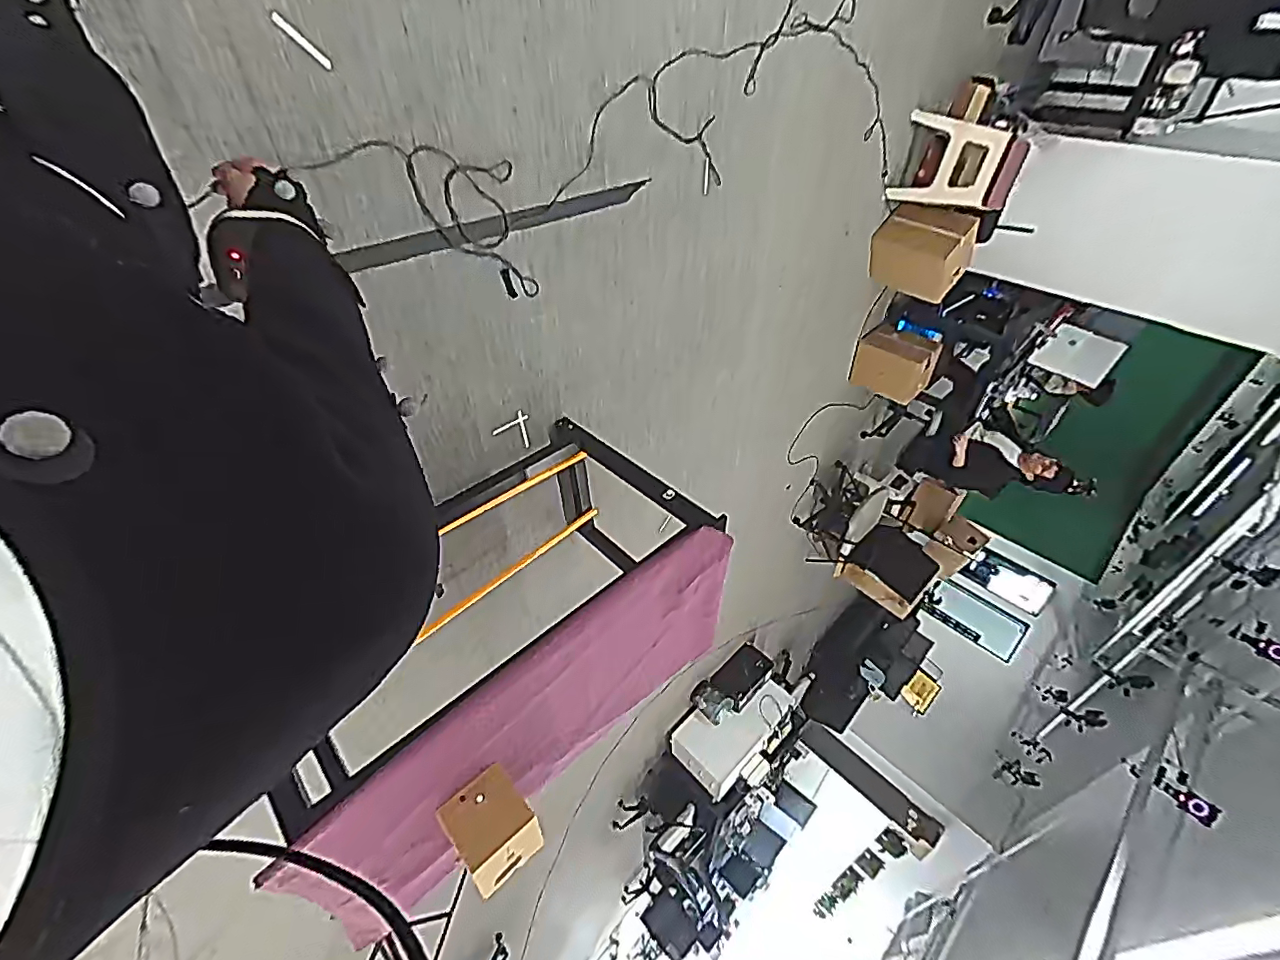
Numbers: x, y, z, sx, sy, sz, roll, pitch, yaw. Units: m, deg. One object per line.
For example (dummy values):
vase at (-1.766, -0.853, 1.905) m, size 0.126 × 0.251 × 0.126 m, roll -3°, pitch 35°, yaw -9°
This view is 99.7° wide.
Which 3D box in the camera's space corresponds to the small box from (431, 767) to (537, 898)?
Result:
small box at (-0.360, 0.814, 1.261) m, size 0.168 × 0.176 × 0.179 m, roll -30°, pitch 139°, yaw -34°
